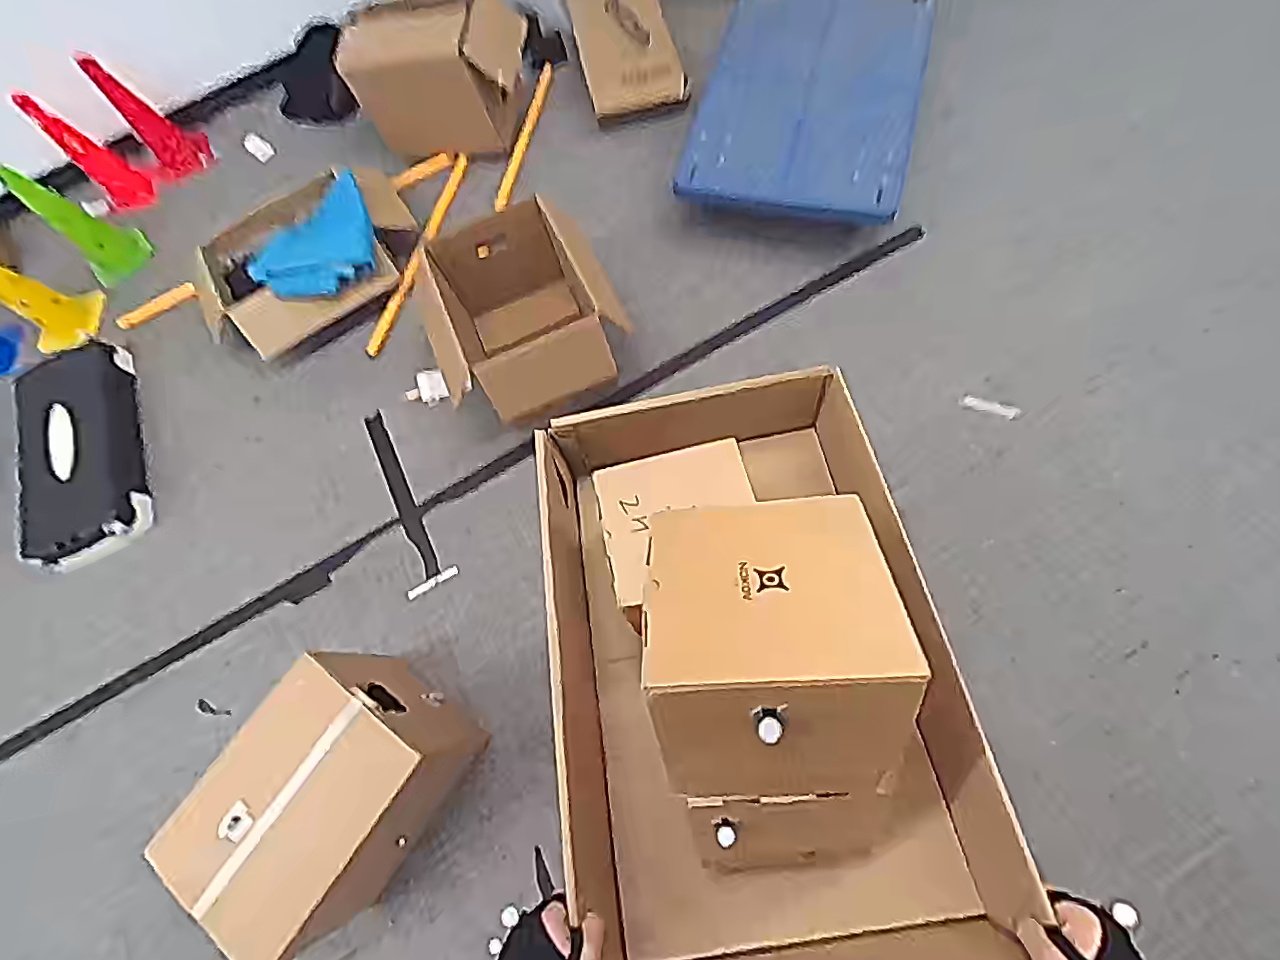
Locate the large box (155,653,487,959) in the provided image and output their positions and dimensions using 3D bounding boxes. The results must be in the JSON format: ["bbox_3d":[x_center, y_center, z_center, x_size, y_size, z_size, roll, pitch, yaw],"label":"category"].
[{"bbox_3d":[-0.580,0.597,1.062,0.320,0.320,0.408,31,78,17],"label":"large box"}]
